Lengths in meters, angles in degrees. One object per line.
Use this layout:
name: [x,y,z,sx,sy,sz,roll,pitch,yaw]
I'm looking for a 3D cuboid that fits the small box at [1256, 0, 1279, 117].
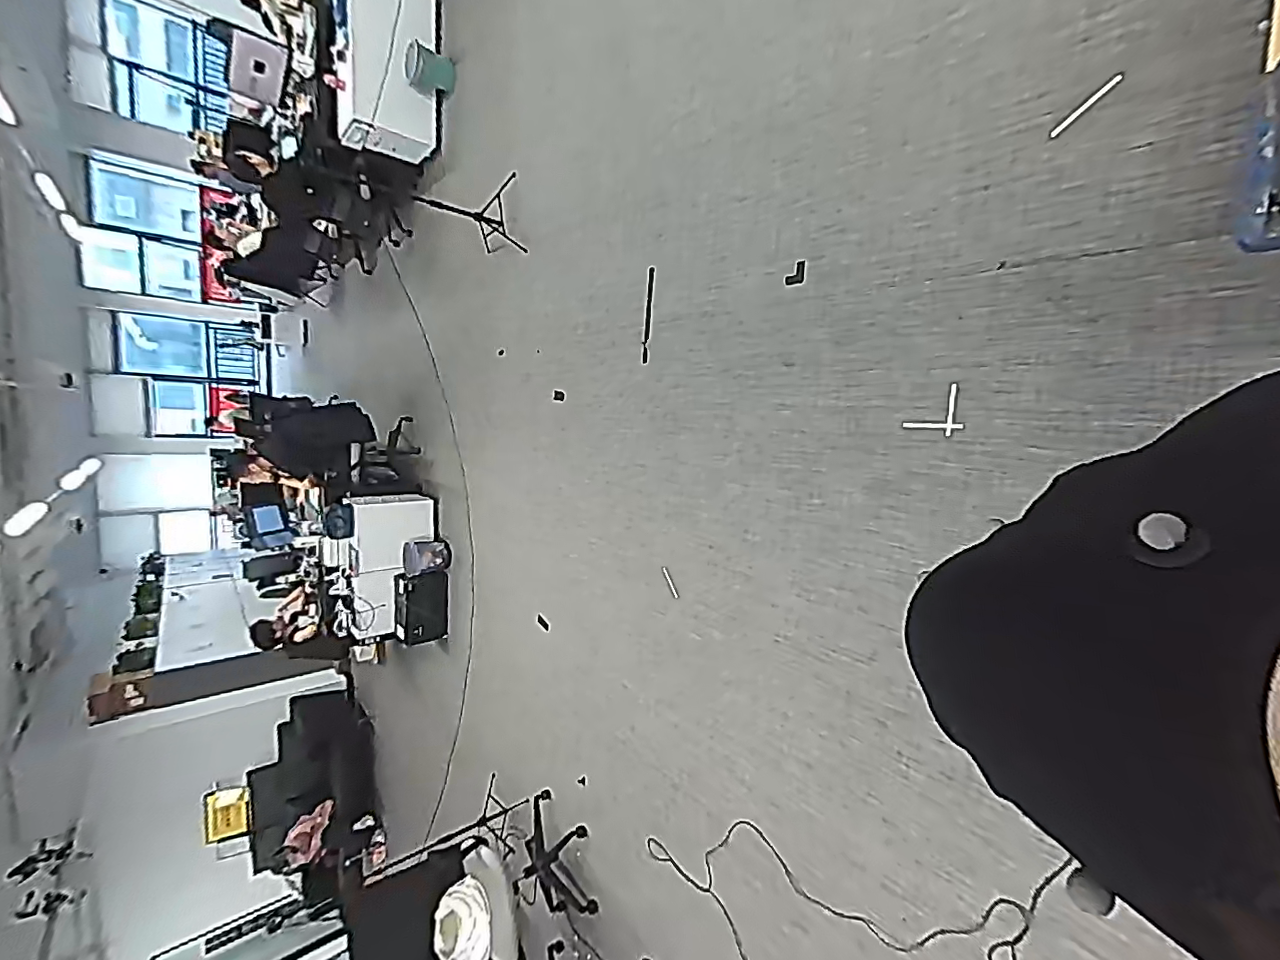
small box: [1.009,-0.654,0.760,0.179,0.176,0.168,8,98,47]
